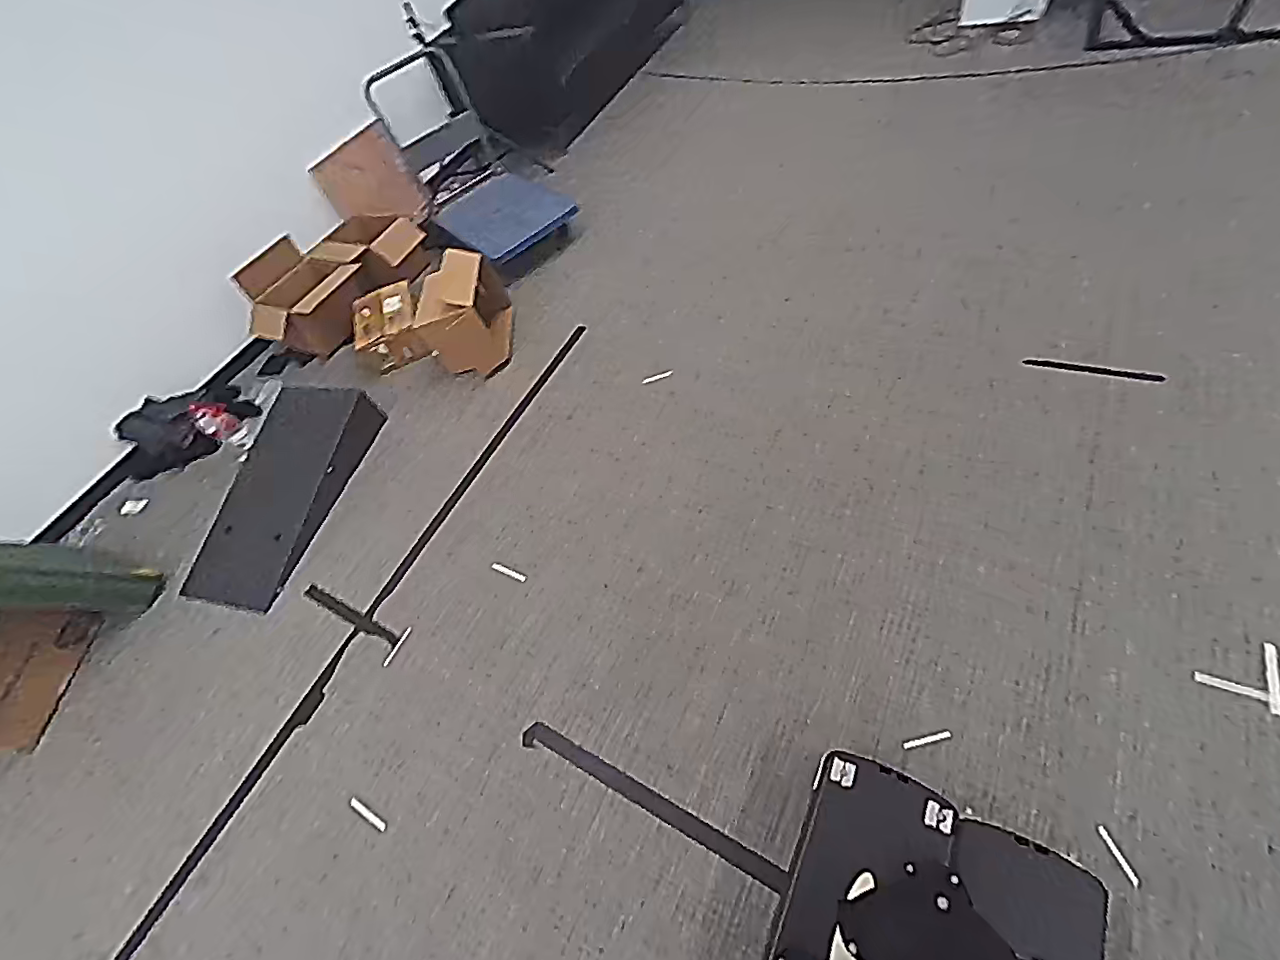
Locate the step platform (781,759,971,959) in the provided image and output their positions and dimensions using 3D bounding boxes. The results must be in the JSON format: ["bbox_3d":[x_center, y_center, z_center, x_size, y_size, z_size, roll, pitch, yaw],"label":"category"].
[{"bbox_3d":[0.453,0.959,1.106,0.286,0.204,0.684,16,61,25],"label":"step platform"}]
